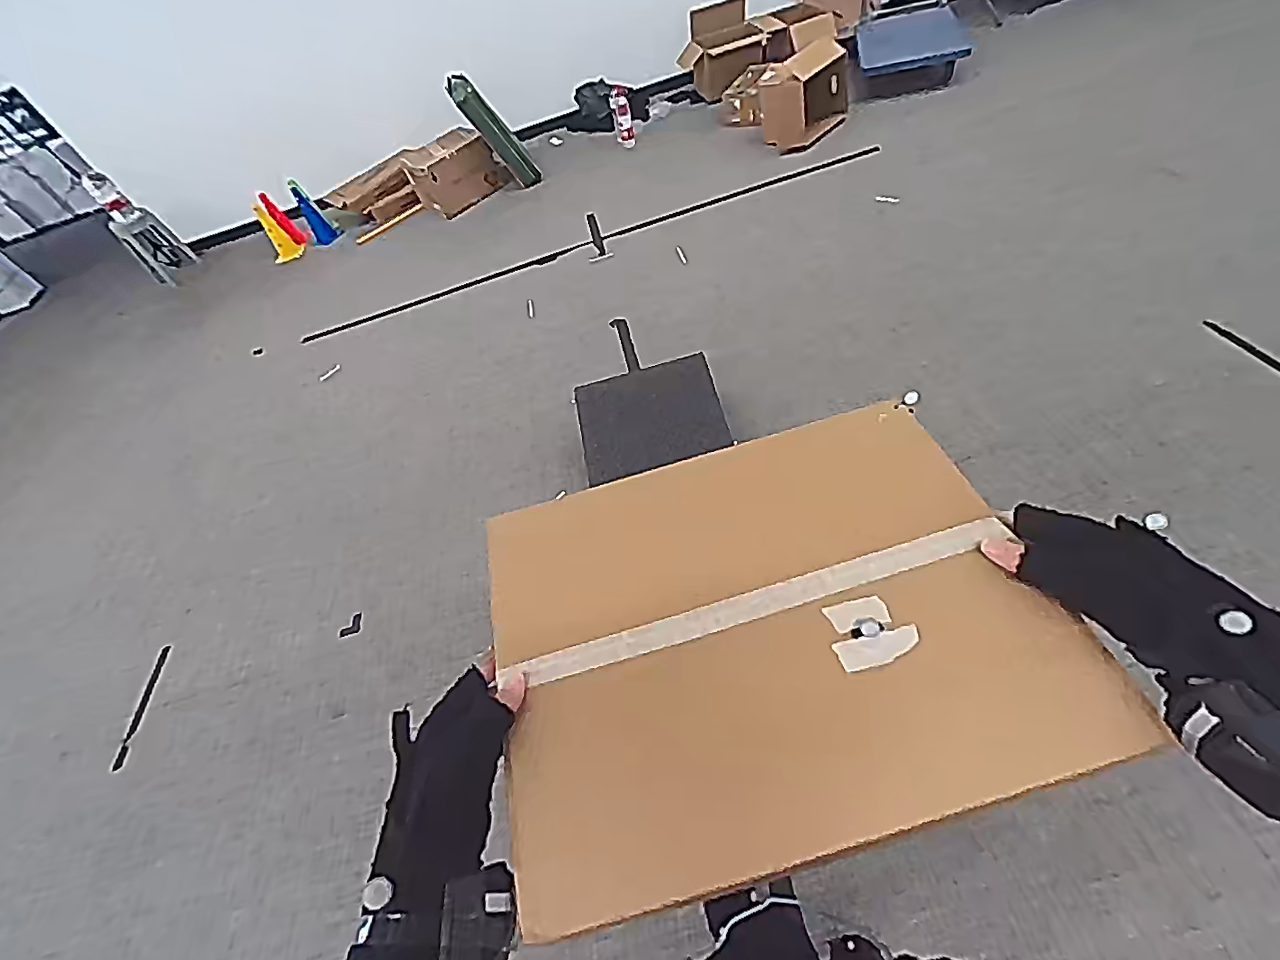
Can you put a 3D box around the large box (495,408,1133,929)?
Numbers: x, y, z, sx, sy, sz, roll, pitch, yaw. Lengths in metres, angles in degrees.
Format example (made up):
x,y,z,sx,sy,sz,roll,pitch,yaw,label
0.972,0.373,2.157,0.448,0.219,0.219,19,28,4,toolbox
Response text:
x,y,z,sx,sy,sz,roll,pitch,yaw,label
0.110,0.189,0.541,0.408,0.320,0.320,-17,52,-2,large box
